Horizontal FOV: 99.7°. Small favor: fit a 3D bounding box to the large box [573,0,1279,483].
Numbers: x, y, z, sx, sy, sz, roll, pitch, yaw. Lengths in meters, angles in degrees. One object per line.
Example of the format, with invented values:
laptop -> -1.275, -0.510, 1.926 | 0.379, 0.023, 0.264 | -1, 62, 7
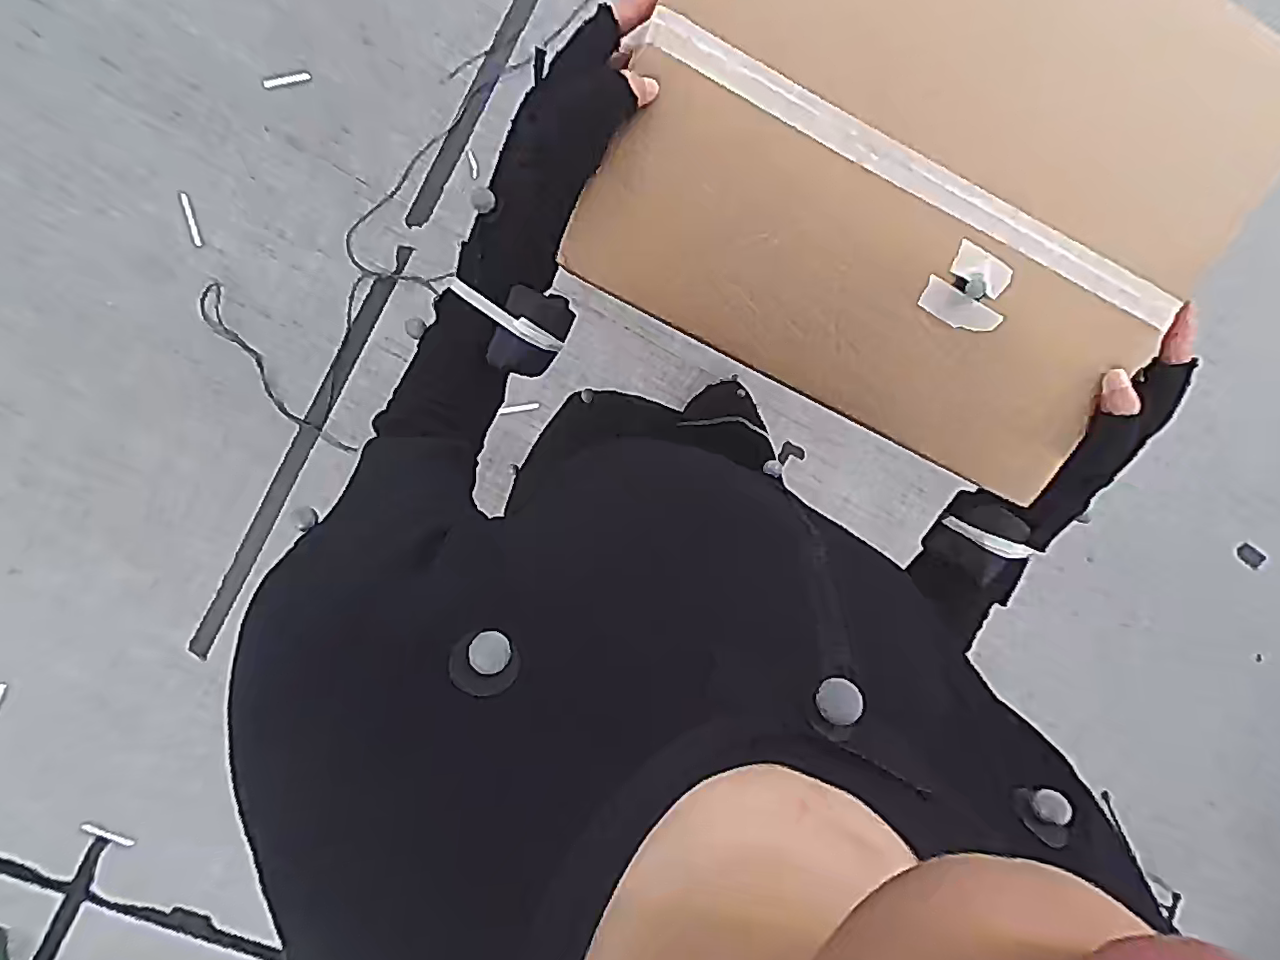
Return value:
large box -> 0.195, -0.253, 0.516 | 0.408, 0.320, 0.320 | 27, 108, -6
